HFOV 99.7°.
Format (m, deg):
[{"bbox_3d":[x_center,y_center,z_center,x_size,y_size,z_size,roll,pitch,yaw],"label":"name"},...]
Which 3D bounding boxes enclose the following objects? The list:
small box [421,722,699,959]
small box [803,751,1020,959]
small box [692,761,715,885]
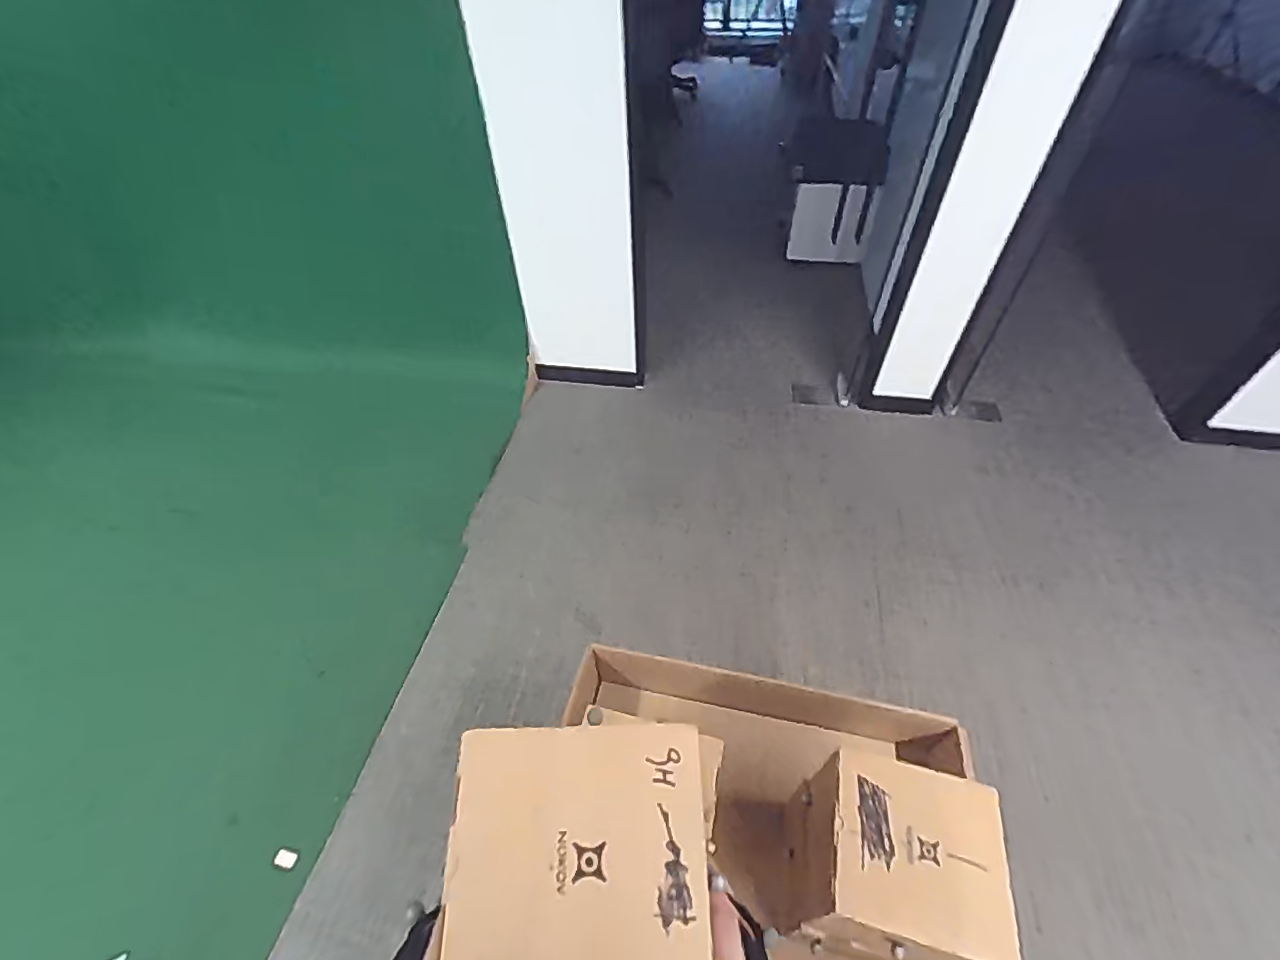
[{"bbox_3d":[-0.048,0.289,0.430,0.179,0.176,0.168,-1,63,1],"label":"small box"},{"bbox_3d":[0.295,0.447,0.627,0.179,0.176,0.168,11,49,11],"label":"small box"},{"bbox_3d":[0.006,0.512,0.803,0.179,0.176,0.168,10,49,10],"label":"small box"}]
